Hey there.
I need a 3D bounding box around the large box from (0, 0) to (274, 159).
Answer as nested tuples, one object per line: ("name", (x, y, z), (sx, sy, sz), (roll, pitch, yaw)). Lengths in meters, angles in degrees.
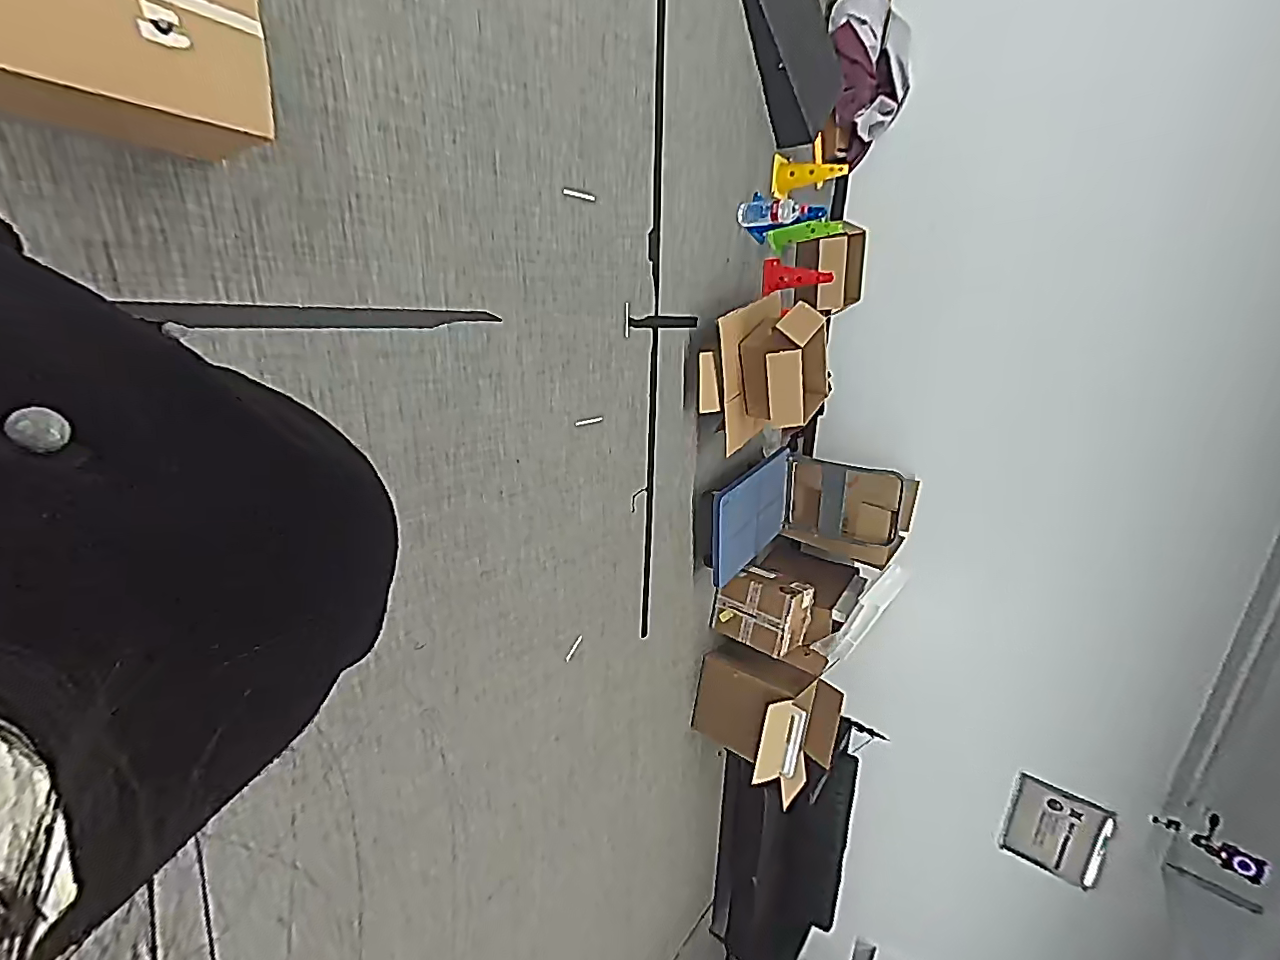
("large box", (-0.866, -0.730, 0.827), (0.408, 0.320, 0.320), (-17, 116, -51))
